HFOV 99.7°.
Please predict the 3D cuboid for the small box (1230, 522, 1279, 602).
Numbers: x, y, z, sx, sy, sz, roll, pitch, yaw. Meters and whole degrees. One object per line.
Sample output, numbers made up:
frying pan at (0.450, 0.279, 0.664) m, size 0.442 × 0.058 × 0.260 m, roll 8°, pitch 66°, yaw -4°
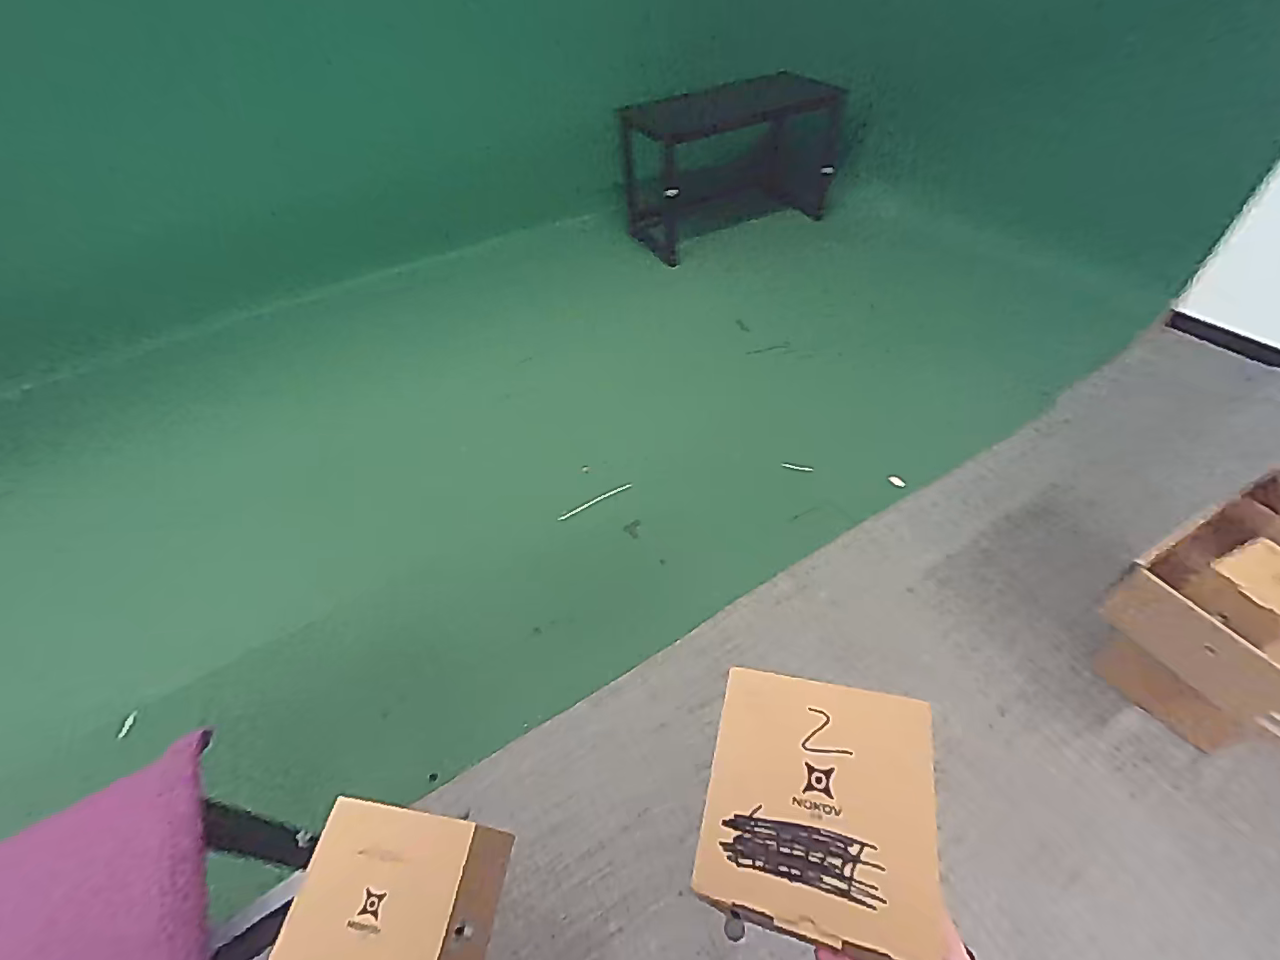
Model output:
small box at (1.529, 0.173, 1.231) m, size 0.179 × 0.176 × 0.168 m, roll -26°, pitch 50°, yaw -16°
